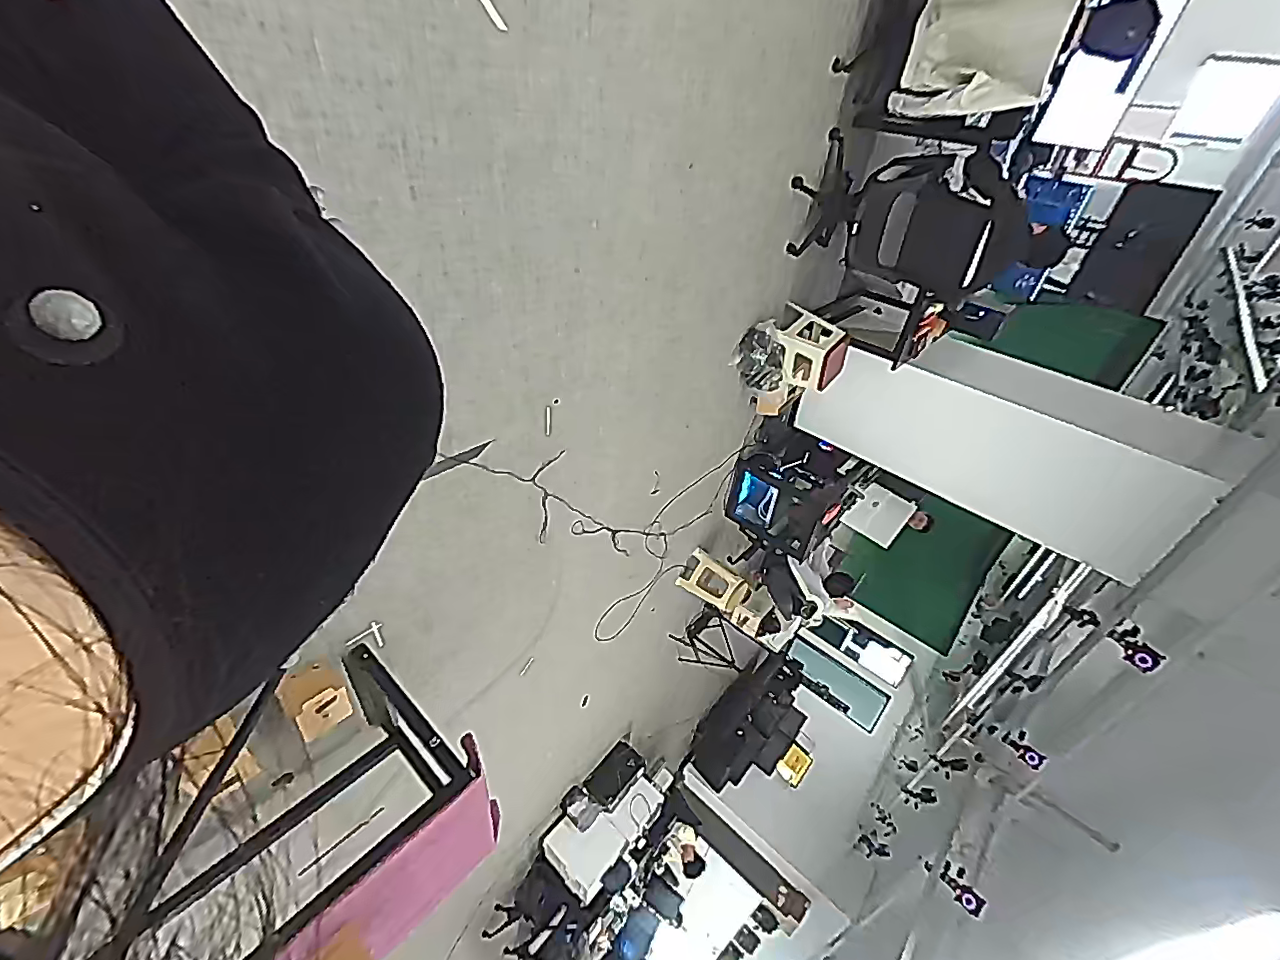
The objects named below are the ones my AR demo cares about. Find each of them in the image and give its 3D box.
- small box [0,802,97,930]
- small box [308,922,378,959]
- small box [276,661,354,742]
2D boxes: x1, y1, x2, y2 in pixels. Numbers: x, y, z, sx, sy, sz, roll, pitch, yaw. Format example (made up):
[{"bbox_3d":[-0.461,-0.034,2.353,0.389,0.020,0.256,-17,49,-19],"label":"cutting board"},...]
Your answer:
[{"bbox_3d":[-1.593,1.014,1.435,0.179,0.176,0.168,-16,130,-53],"label":"small box"},{"bbox_3d":[-0.810,1.365,1.476,0.168,0.176,0.179,-30,143,-40],"label":"small box"},{"bbox_3d":[-1.145,0.769,1.902,0.168,0.176,0.179,-31,142,-40],"label":"small box"}]
